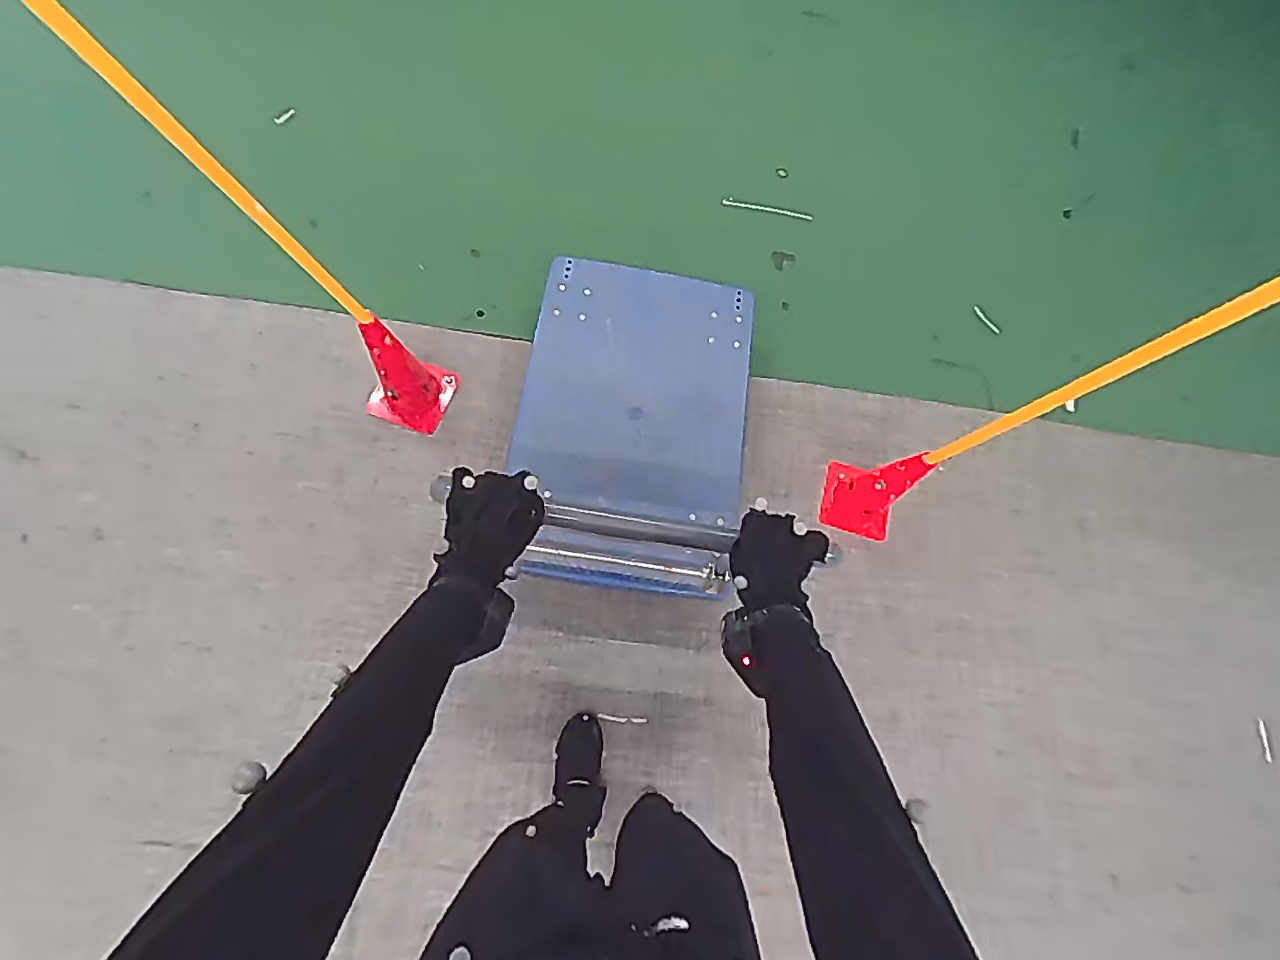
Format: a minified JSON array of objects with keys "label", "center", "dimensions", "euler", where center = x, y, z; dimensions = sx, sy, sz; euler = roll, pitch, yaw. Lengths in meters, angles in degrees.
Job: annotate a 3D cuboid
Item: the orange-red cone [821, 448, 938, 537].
[{"label":"orange-red cone","center":[0.639,-0.001,1.380],"dimensions":[0.198,0.360,0.199],"euler":[18,72,1]}]
